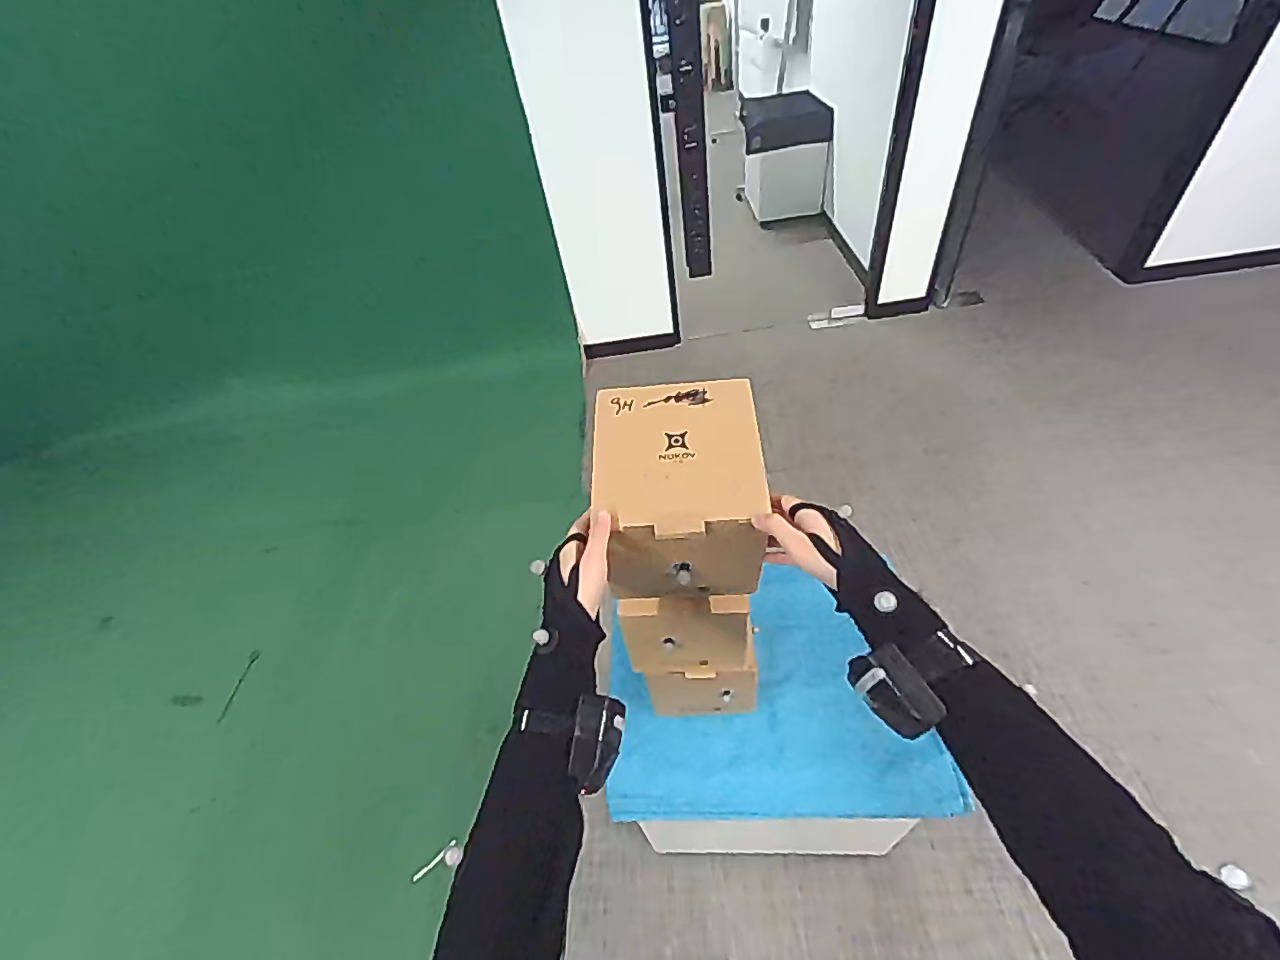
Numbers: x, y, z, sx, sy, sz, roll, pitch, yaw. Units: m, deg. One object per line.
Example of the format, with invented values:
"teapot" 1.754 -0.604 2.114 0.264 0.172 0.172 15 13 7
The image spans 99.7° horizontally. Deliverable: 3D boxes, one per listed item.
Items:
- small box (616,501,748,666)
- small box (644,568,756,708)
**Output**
"small box" 0.066 0.152 0.774 0.168 0.176 0.179 -3 45 7
"small box" 0.099 0.262 0.889 0.168 0.176 0.179 -4 46 6
